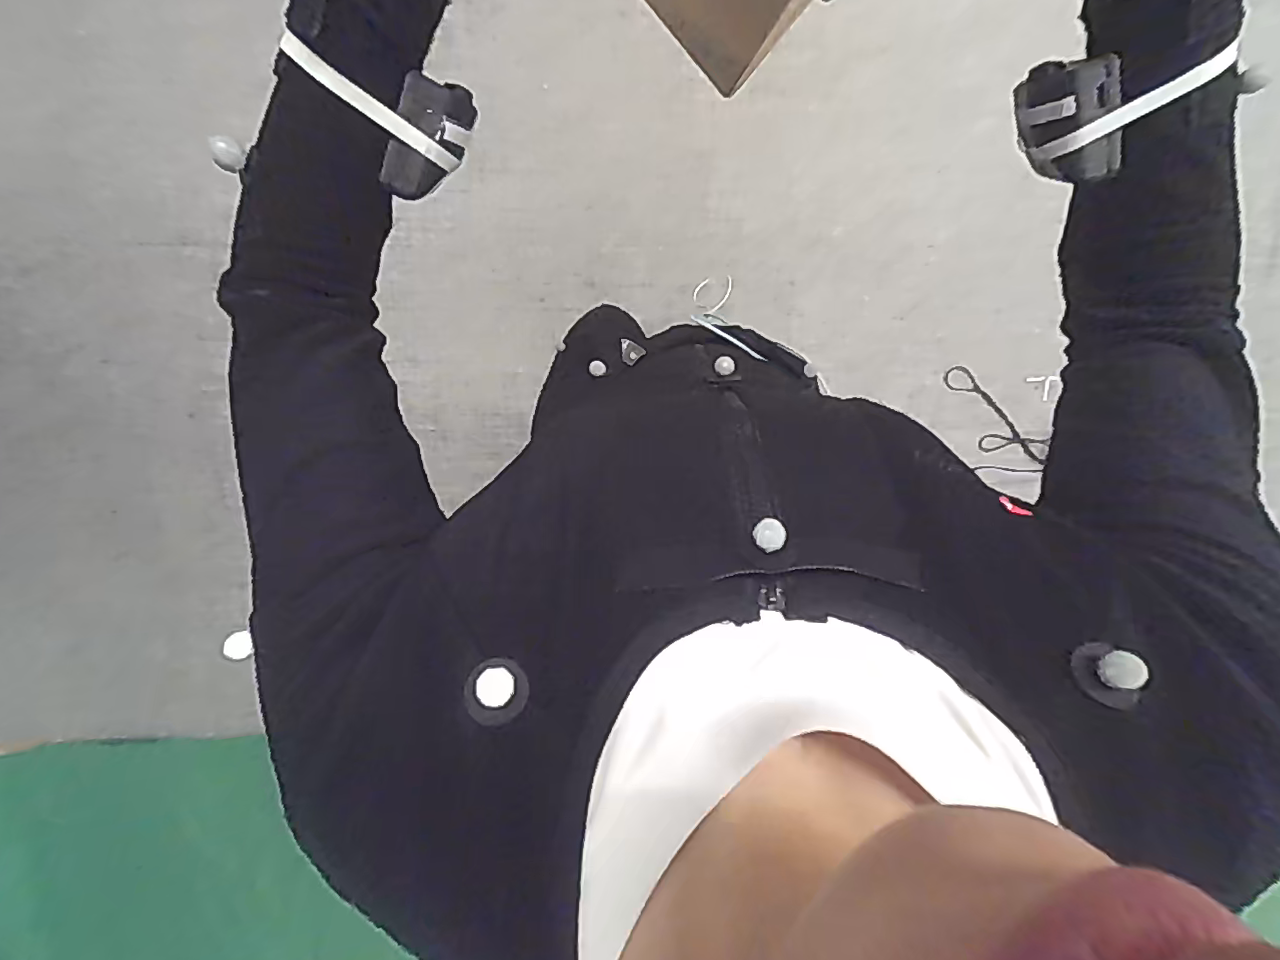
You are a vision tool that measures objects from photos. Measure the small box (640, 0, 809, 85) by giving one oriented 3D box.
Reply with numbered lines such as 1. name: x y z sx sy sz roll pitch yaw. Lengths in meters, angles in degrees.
1. small box: 0.060 -0.376 0.300 0.179 0.176 0.168 41 102 -17
